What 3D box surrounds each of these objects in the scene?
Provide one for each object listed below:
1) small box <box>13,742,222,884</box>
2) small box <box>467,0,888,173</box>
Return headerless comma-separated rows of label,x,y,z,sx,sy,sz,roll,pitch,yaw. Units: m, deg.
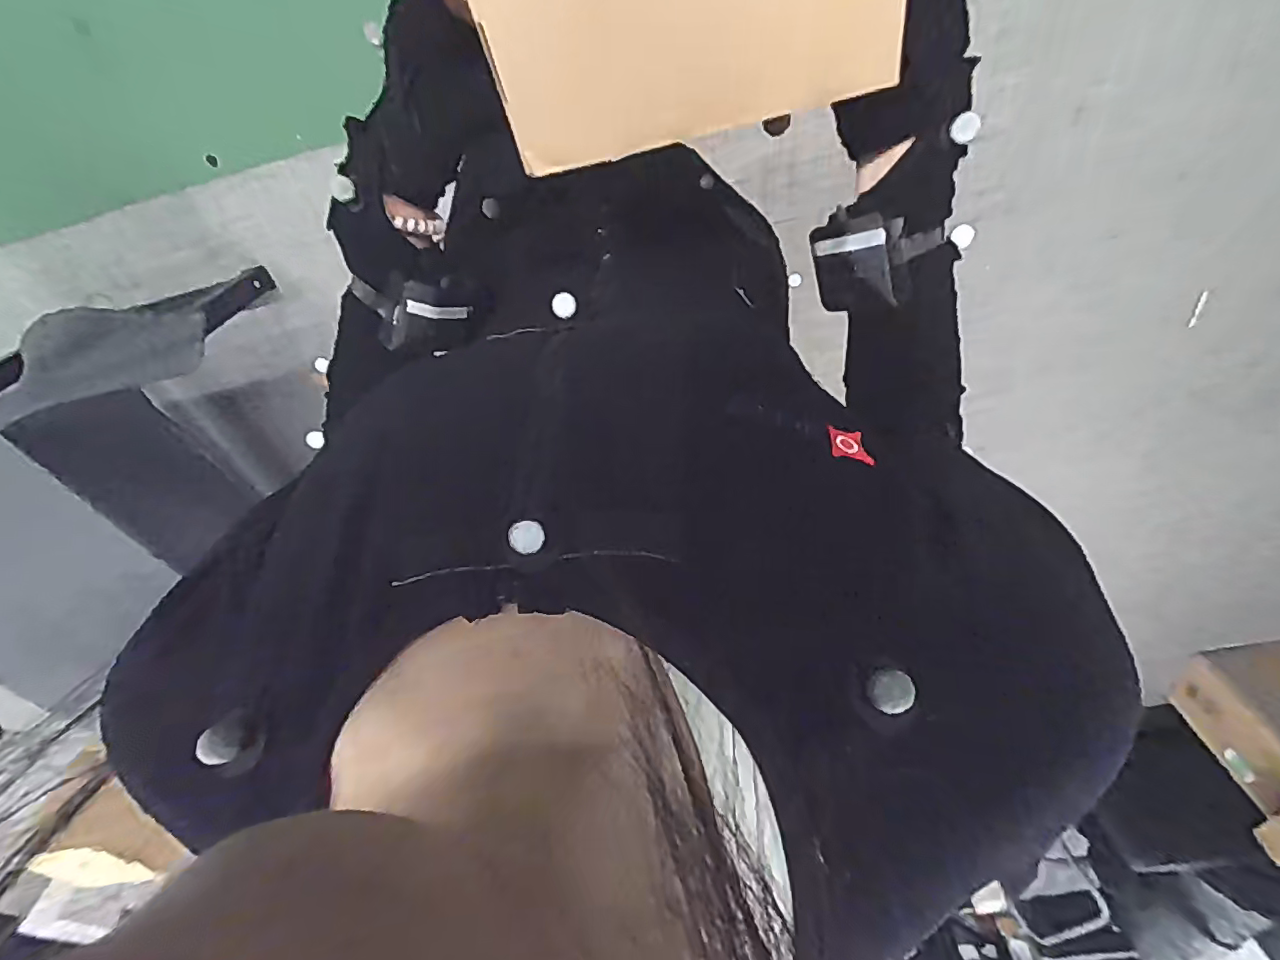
small box,-0.929,0.604,0.984,0.179,0.176,0.168,-12,128,7
small box,0.007,-0.279,0.261,0.179,0.176,0.168,-10,133,8
